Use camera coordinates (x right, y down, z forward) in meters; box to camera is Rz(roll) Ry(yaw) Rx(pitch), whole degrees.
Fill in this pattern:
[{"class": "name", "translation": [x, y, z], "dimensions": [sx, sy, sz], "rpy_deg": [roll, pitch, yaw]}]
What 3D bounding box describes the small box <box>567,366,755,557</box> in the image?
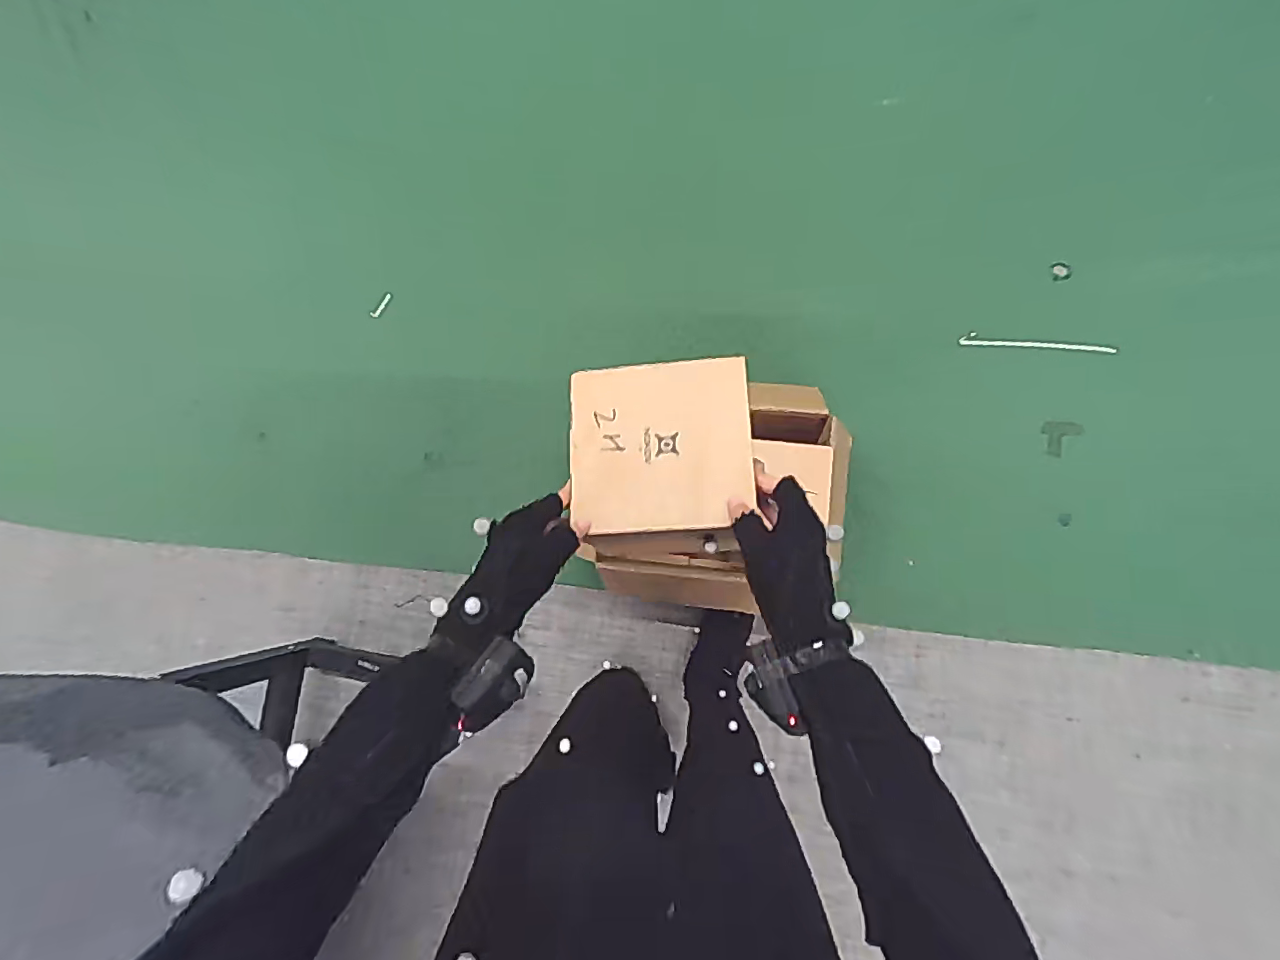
[{"class": "small box", "translation": [0.028, -0.008, 0.593], "dimensions": [0.179, 0.176, 0.168], "rpy_deg": [-4, 75, 9]}]
